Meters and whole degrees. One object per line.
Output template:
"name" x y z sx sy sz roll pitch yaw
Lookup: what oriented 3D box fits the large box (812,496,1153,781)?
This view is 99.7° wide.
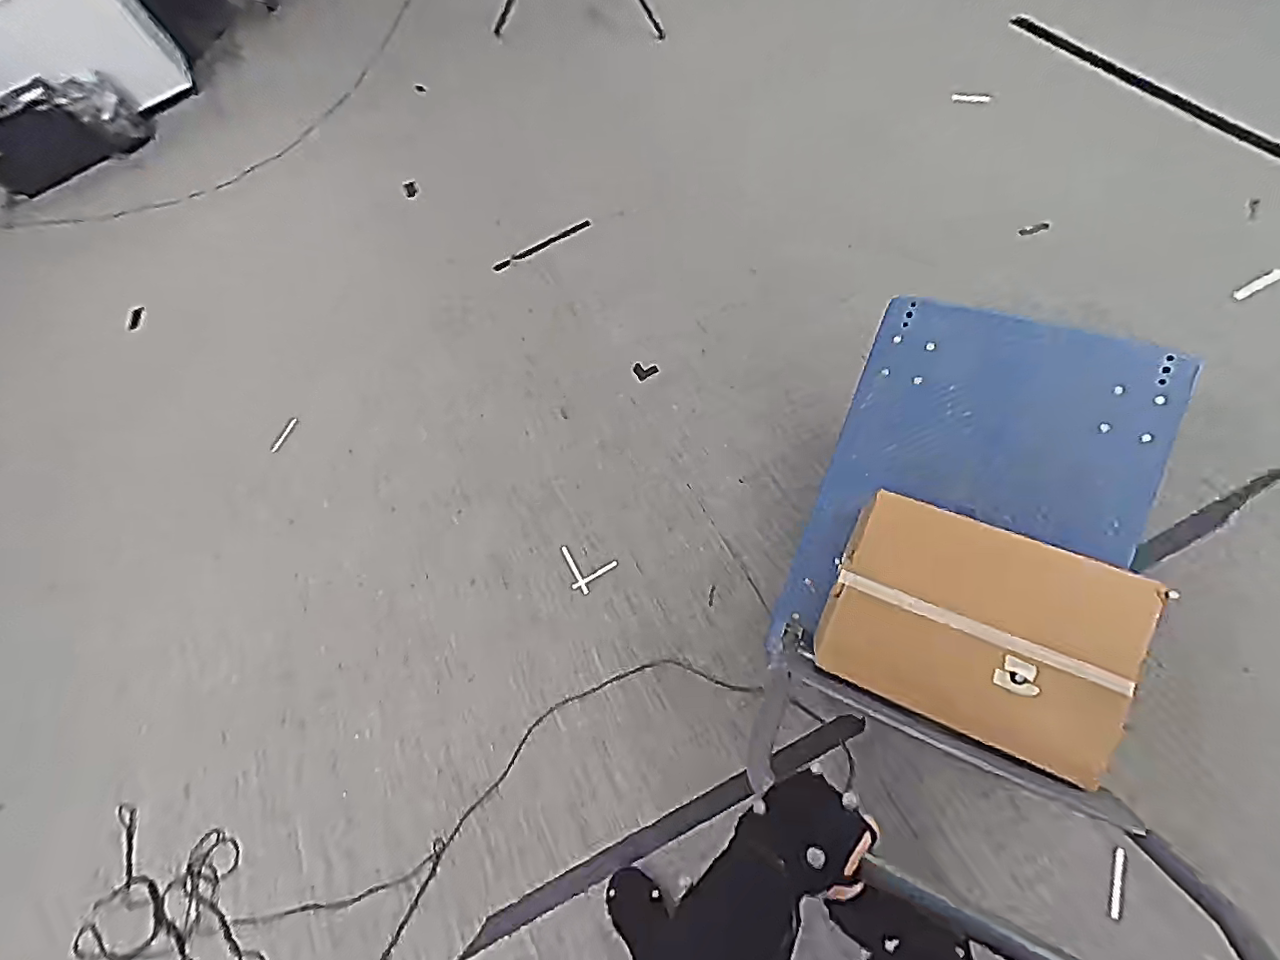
"large box" 0.562 0.253 0.988 0.408 0.320 0.320 22 89 18
